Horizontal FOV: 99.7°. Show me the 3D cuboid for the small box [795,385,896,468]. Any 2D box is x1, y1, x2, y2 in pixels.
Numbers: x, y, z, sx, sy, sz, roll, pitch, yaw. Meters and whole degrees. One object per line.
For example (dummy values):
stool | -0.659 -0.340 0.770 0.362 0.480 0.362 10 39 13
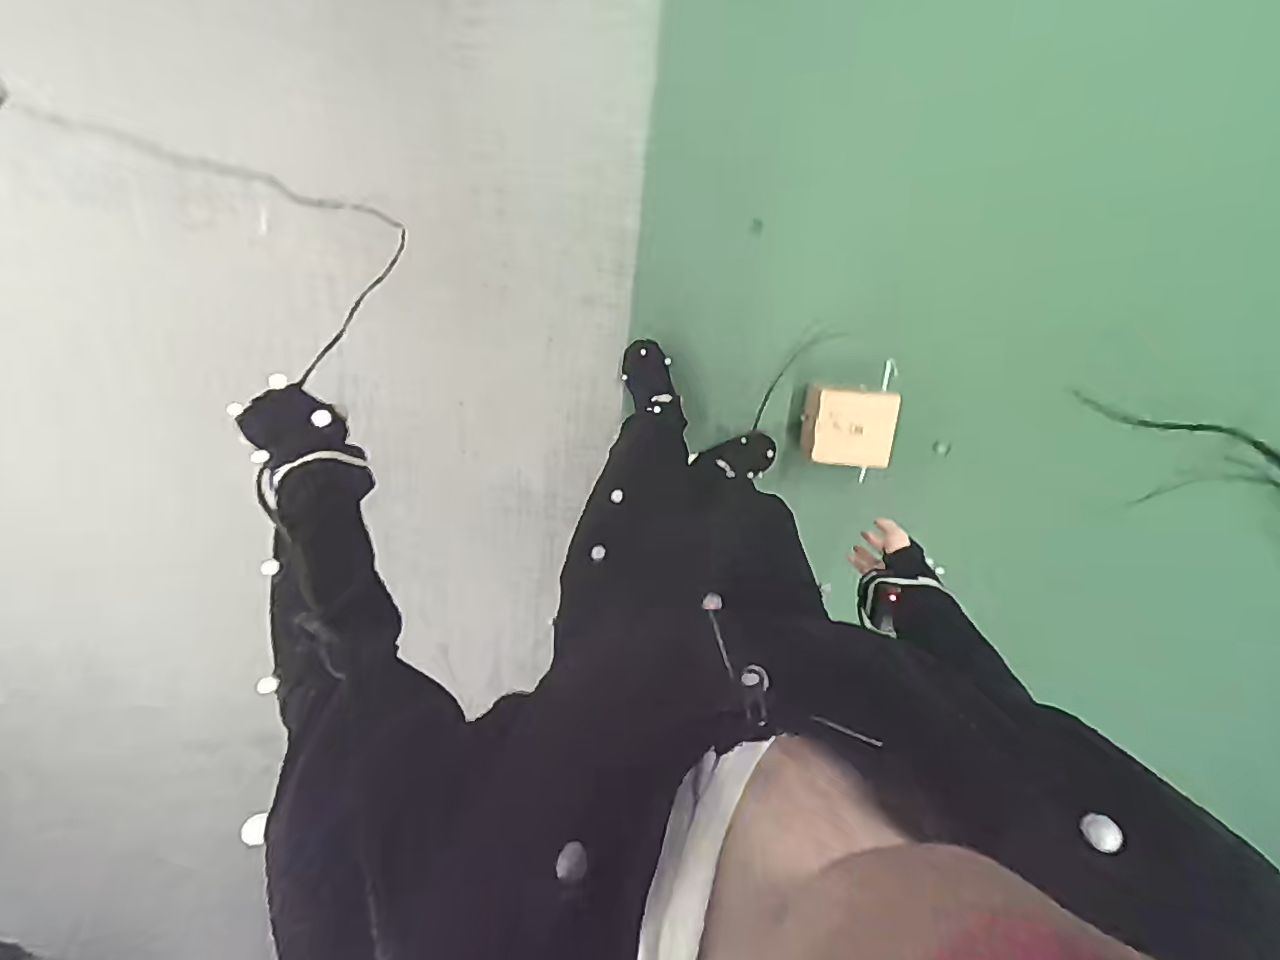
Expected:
small box | 0.487 -0.135 1.306 0.179 0.176 0.168 6 106 5
